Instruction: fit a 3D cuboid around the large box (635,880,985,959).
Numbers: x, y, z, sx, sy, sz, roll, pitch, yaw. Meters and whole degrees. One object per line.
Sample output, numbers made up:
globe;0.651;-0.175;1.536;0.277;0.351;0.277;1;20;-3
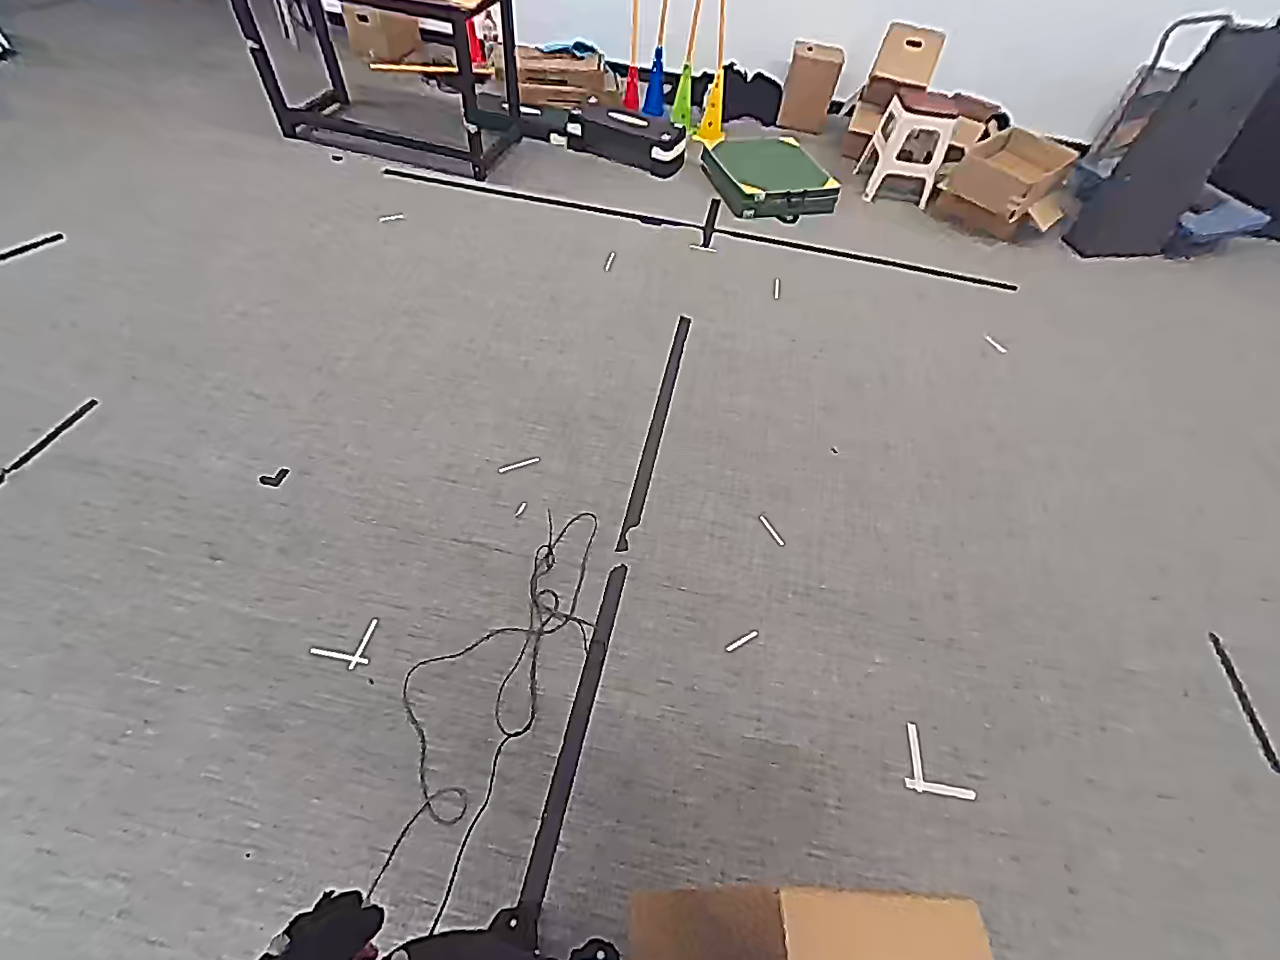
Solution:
large box;0.210;0.736;0.701;0.320;0.408;0.320;19;48;-16
